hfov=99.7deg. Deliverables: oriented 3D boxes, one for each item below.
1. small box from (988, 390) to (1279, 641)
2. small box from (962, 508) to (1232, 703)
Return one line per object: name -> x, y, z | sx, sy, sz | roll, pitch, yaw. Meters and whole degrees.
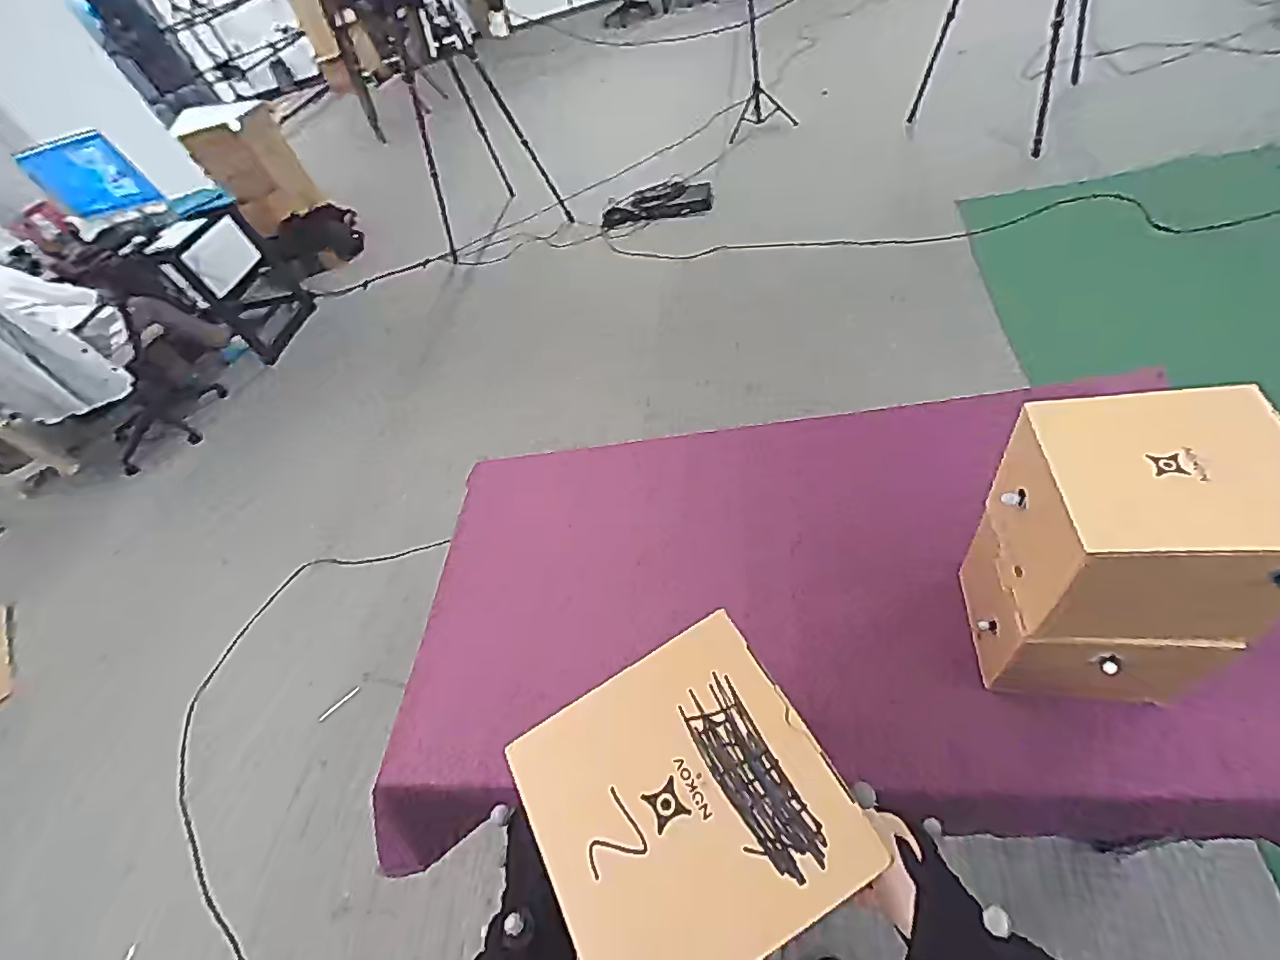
small box -> 0.448, 0.040, 0.501 | 0.179, 0.176, 0.168 | -3, 52, 16
small box -> 0.488, 0.144, 0.619 | 0.179, 0.176, 0.168 | -1, 52, 17
